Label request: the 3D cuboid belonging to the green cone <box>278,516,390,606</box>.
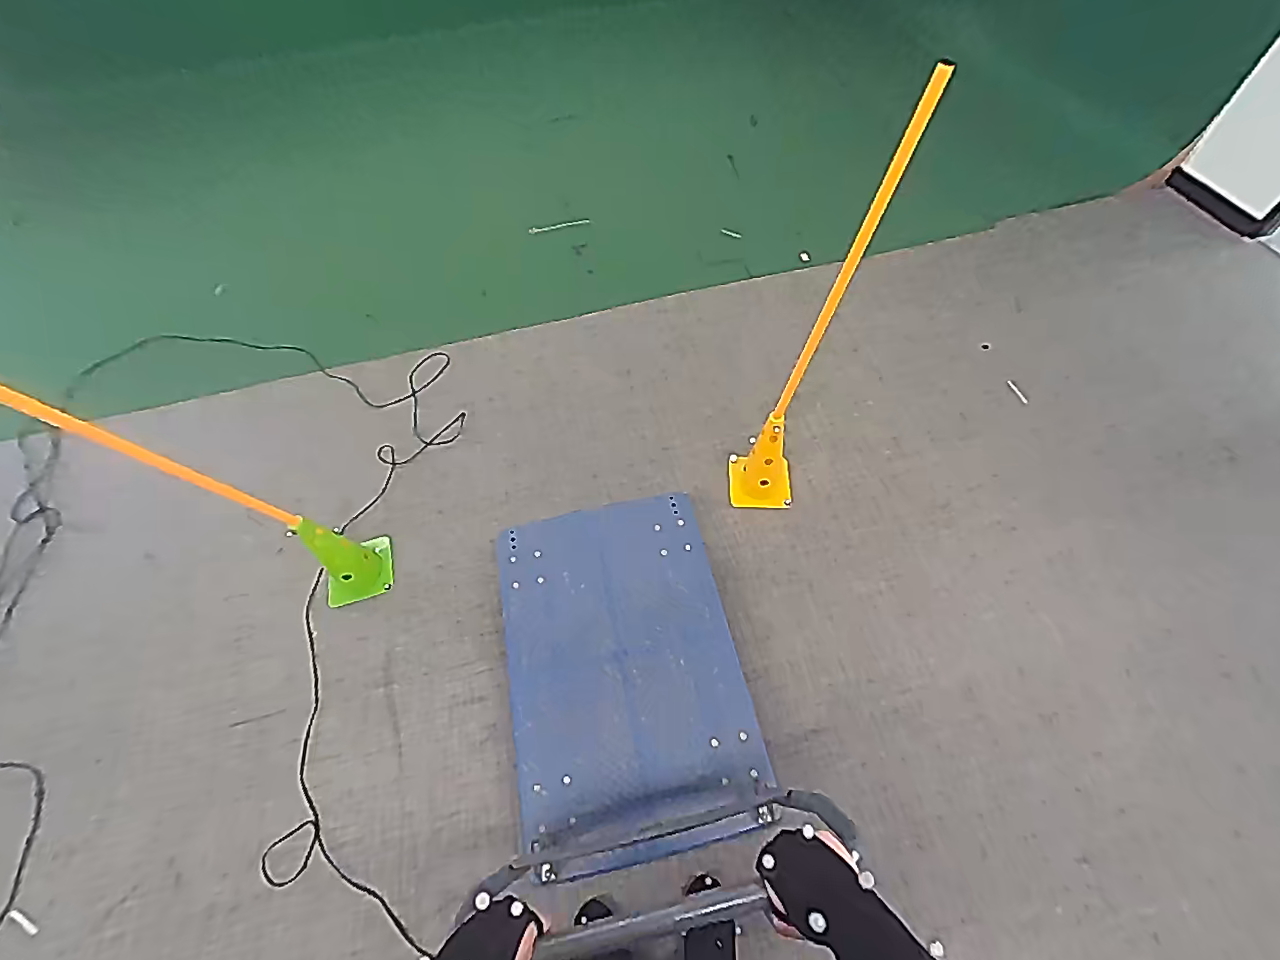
[{"bbox_3d":[-0.911,0.197,1.570,0.202,0.368,0.200,-18,59,-5],"label":"green cone"}]
